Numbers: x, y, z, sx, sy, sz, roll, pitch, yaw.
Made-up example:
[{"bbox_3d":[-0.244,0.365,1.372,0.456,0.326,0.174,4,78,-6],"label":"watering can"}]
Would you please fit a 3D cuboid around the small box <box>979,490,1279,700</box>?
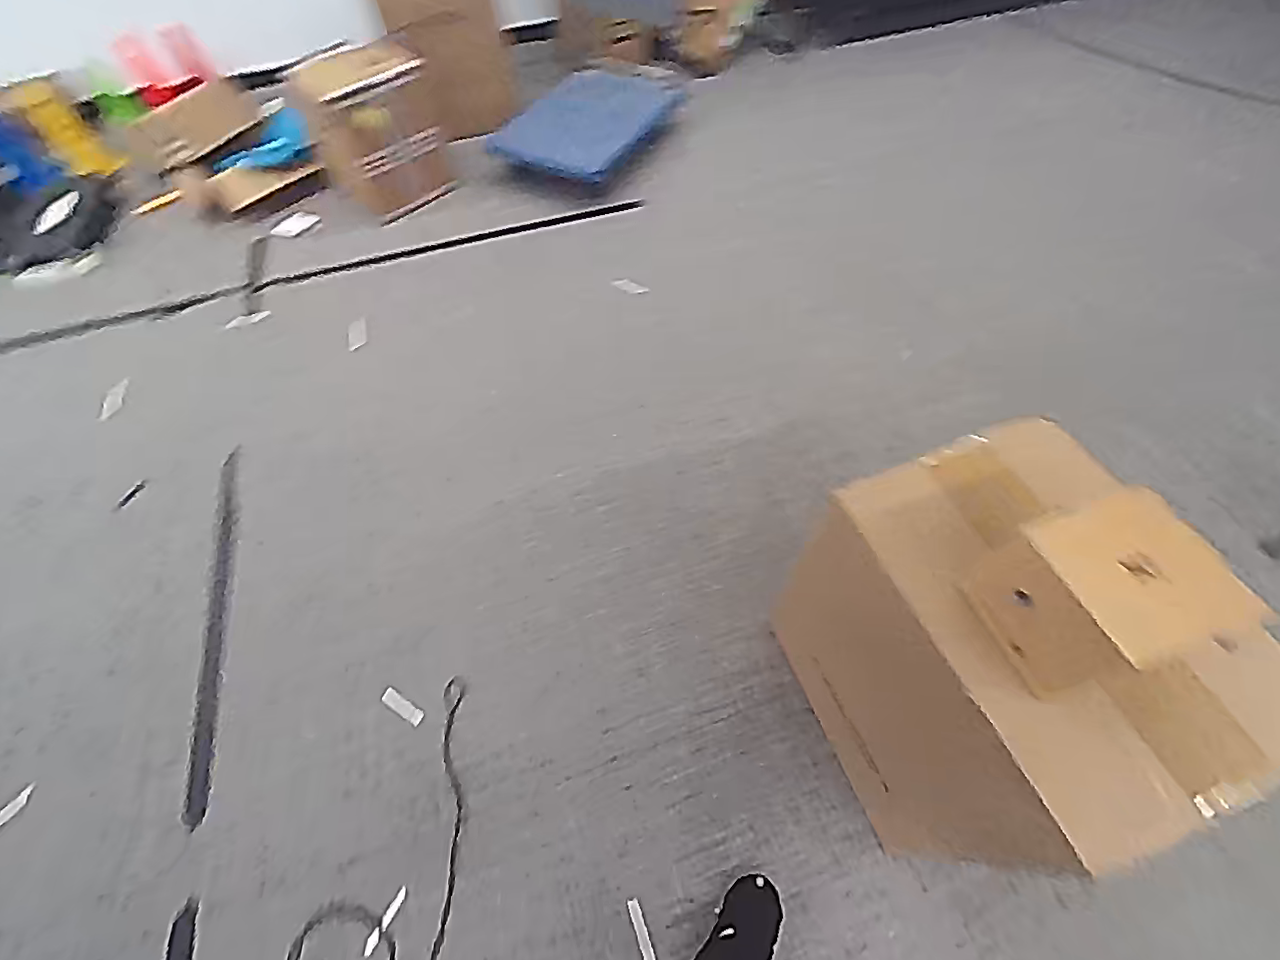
[{"bbox_3d":[0.544,0.142,0.640,0.179,0.176,0.168,-15,57,-9],"label":"small box"}]
